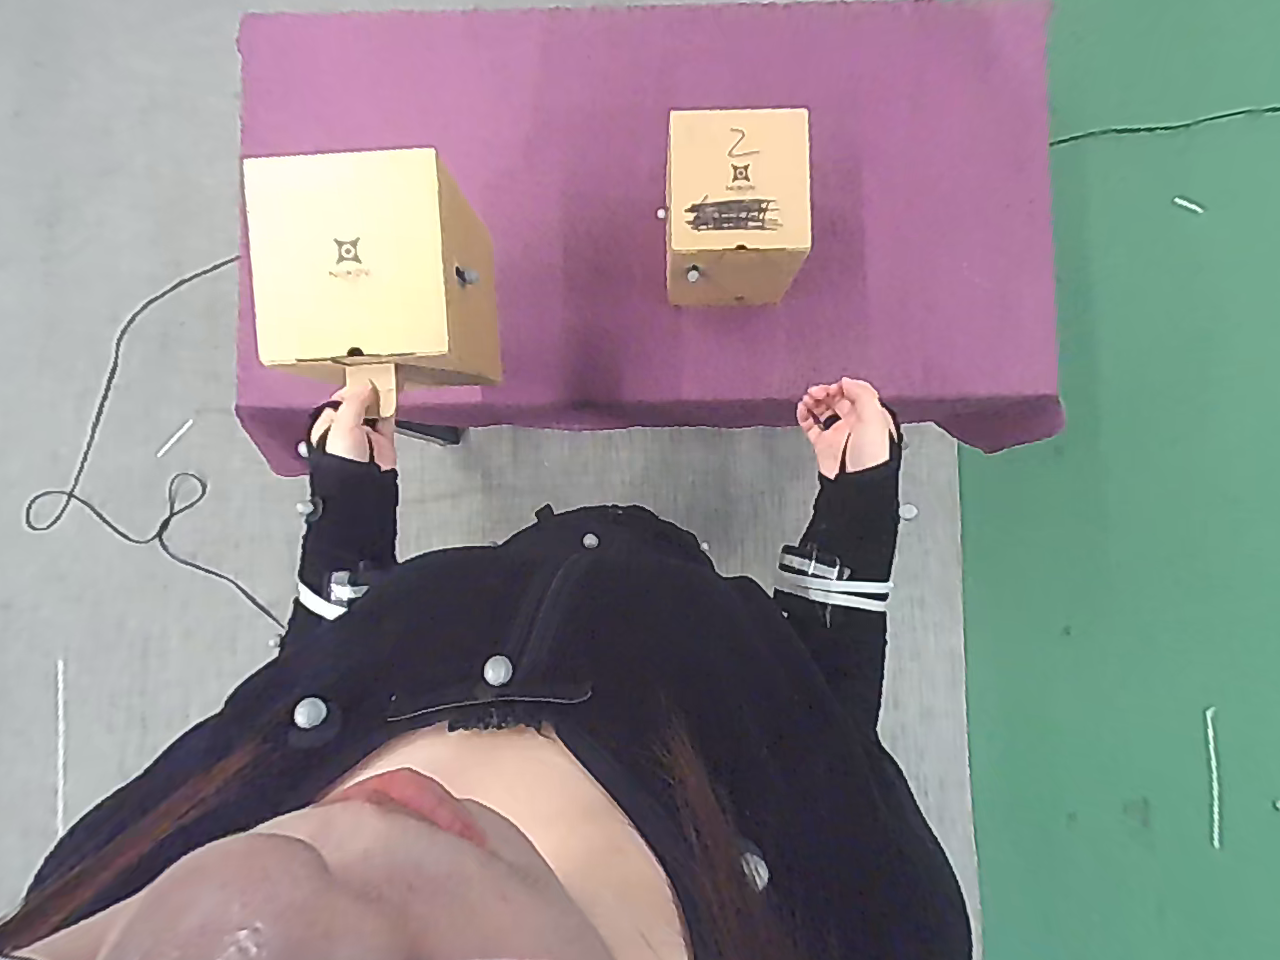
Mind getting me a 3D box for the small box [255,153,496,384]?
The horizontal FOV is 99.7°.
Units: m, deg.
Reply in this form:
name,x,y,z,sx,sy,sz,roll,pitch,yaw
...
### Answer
name,x,y,z,sx,sy,sz,roll,pitch,yaw
small box,-0.252,-0.200,0.556,0.168,0.176,0.179,-3,93,0
